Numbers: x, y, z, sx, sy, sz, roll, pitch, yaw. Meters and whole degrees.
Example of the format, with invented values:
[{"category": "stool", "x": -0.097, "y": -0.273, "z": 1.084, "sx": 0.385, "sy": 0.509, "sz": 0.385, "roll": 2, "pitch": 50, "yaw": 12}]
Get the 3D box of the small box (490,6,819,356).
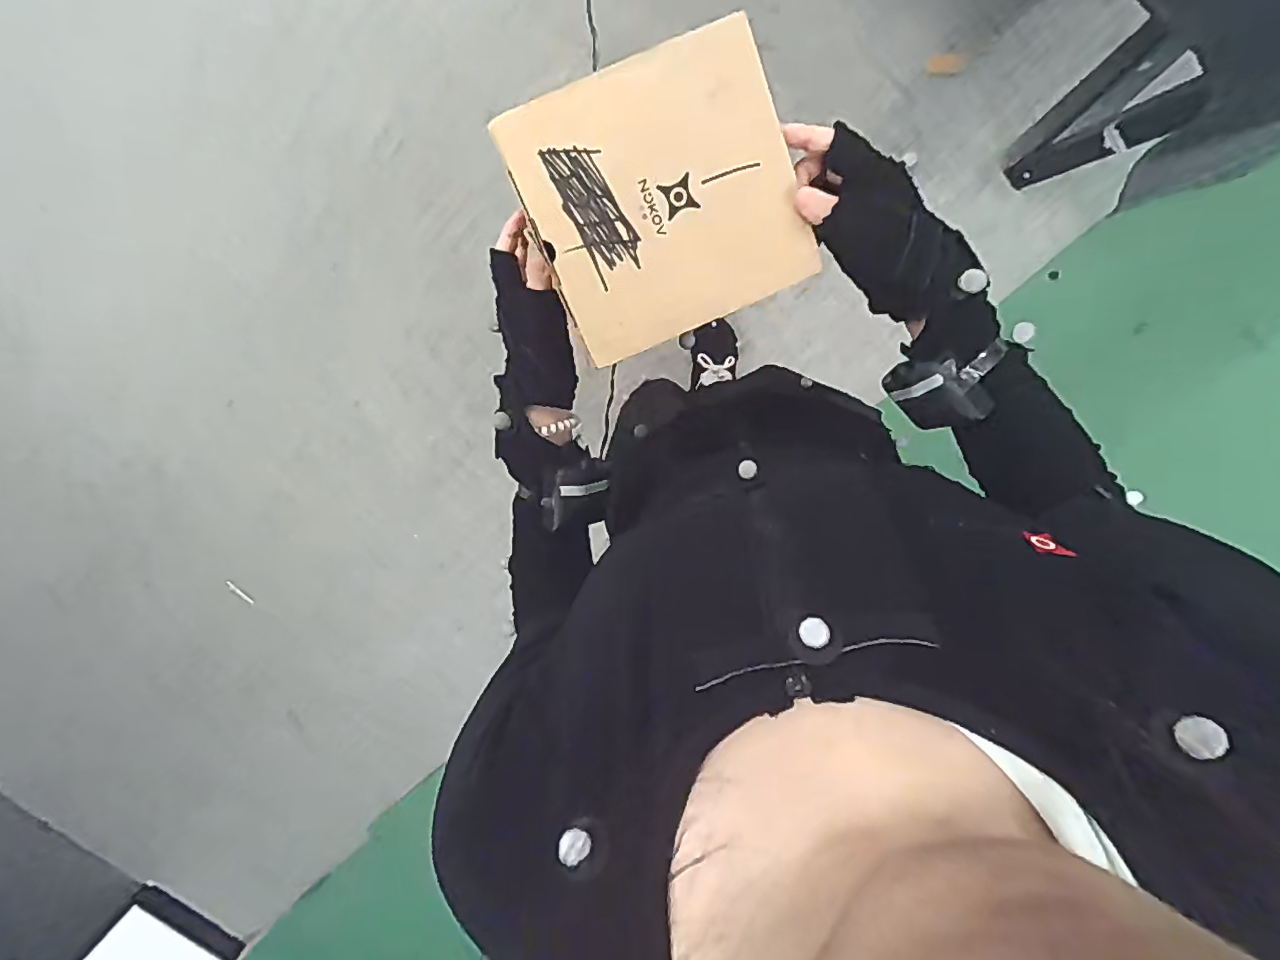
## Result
[{"category": "small box", "x": 0.007, "y": -0.206, "z": 0.431, "sx": 0.179, "sy": 0.176, "sz": 0.168, "roll": -24, "pitch": 105, "yaw": -1}]
